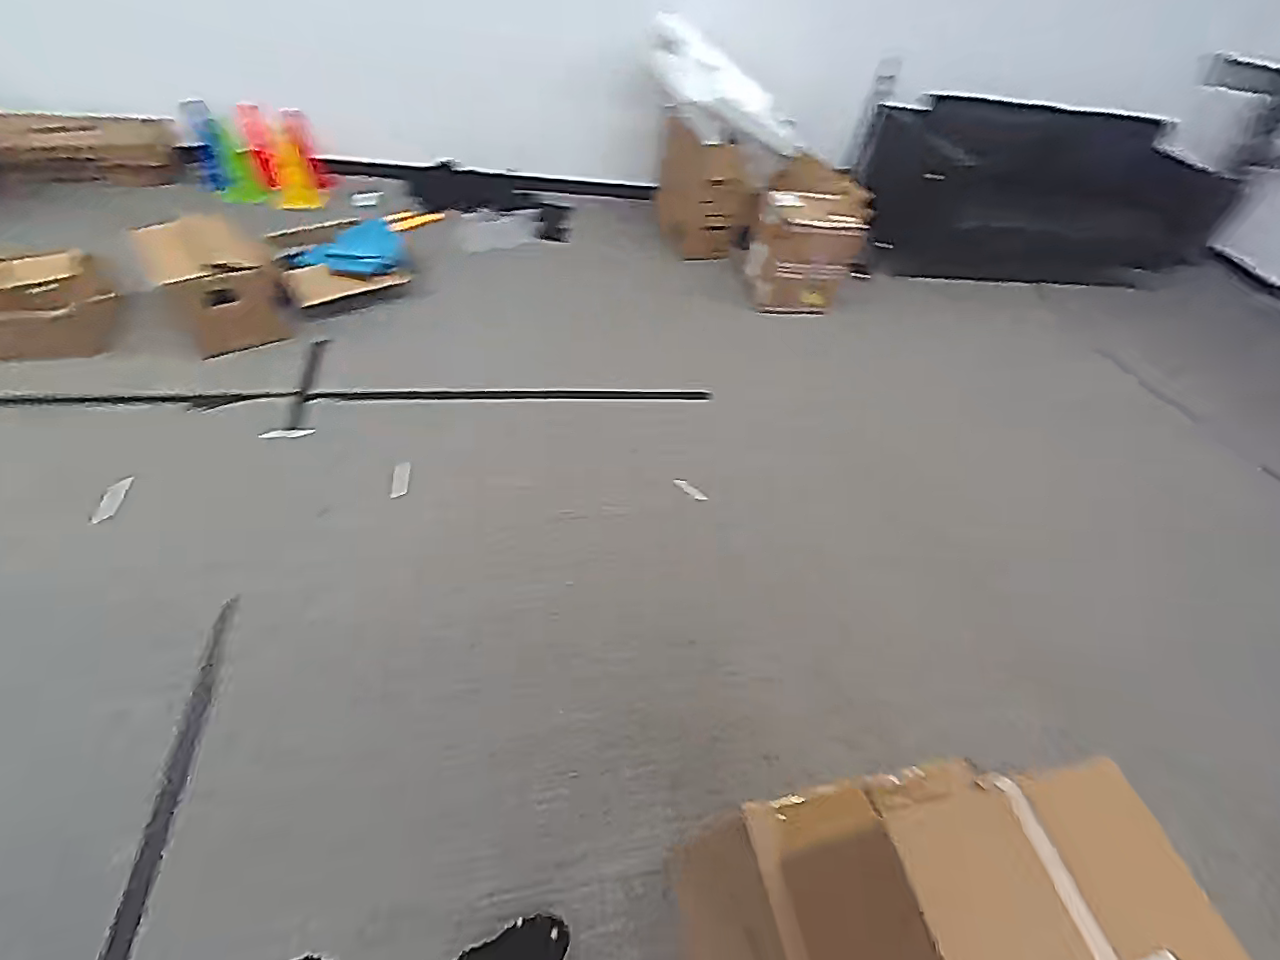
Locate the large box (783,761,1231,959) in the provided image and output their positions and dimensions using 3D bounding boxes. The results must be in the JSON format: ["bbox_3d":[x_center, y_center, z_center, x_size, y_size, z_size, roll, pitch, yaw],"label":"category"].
[{"bbox_3d":[0.414,0.587,0.594,0.320,0.320,0.408,-4,51,-14],"label":"large box"}]
